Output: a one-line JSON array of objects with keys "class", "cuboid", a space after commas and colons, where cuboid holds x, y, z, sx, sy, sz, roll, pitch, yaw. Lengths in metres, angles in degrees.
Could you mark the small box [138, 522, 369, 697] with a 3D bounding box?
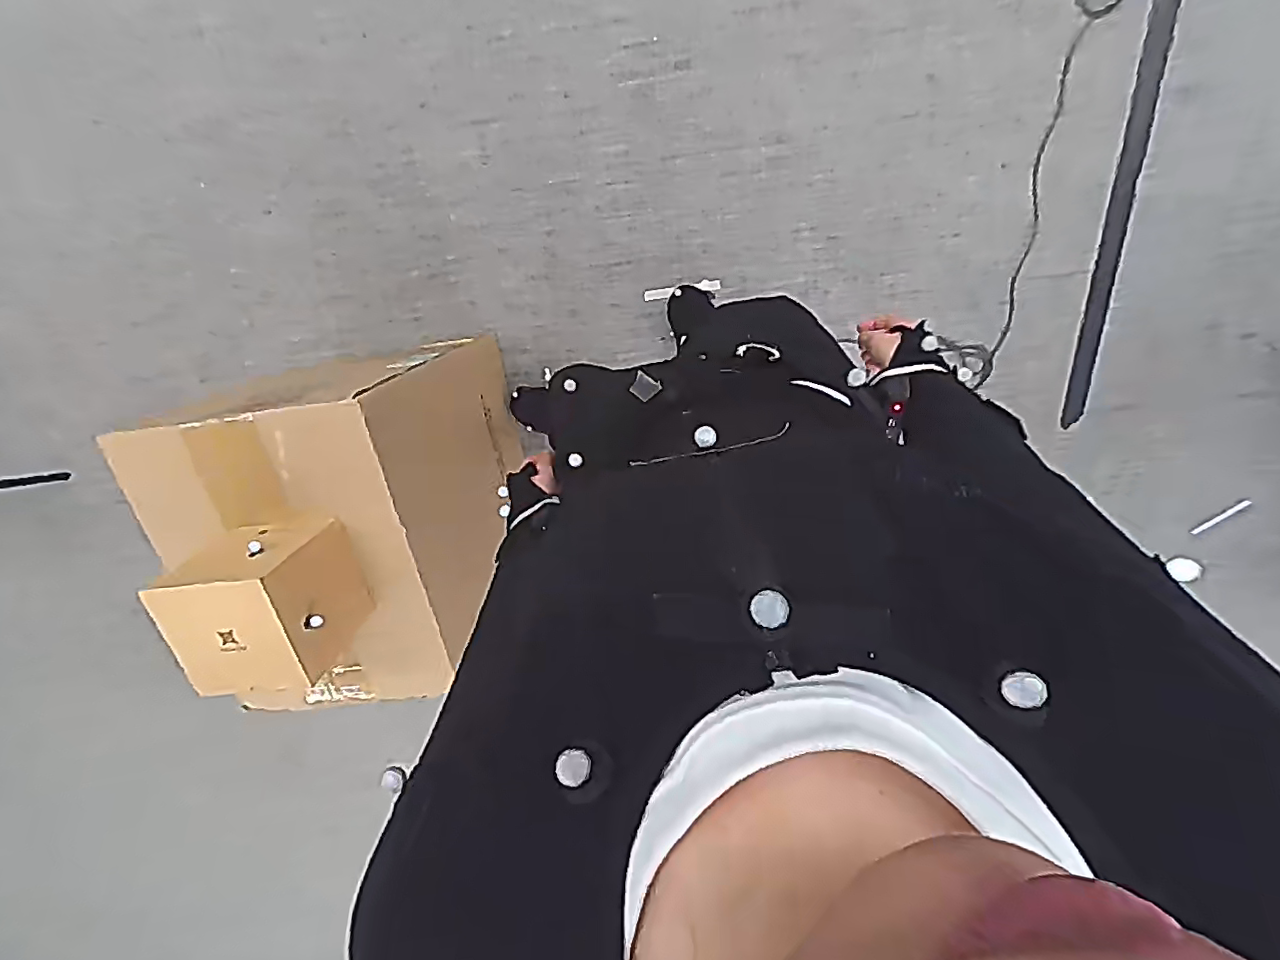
[{"class": "small box", "cuboid": [-0.518, 0.170, 0.756, 0.168, 0.176, 0.179, -7, 113, 5]}]
